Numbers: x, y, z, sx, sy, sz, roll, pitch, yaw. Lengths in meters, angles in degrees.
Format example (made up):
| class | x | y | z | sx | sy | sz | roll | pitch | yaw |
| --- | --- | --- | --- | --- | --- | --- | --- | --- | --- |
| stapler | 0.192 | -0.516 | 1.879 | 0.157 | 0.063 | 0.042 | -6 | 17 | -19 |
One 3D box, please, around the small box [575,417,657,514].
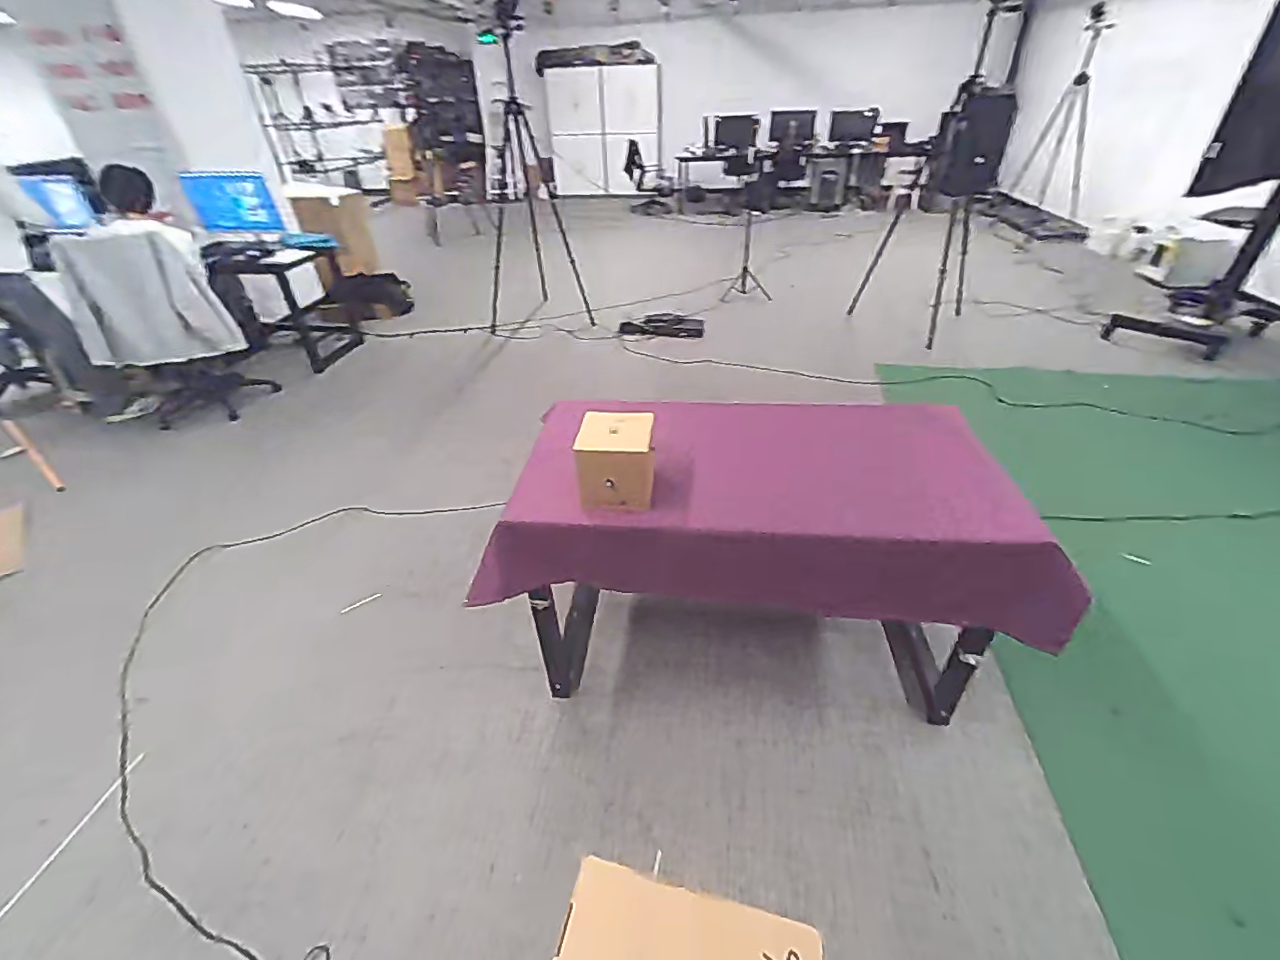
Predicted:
| class | x | y | z | sx | sy | sz | roll | pitch | yaw |
| --- | --- | --- | --- | --- | --- | --- | --- | --- | --- |
| small box | -0.049 | -0.035 | 1.290 | 0.168 | 0.176 | 0.179 | 2 | 35 | 6 |
